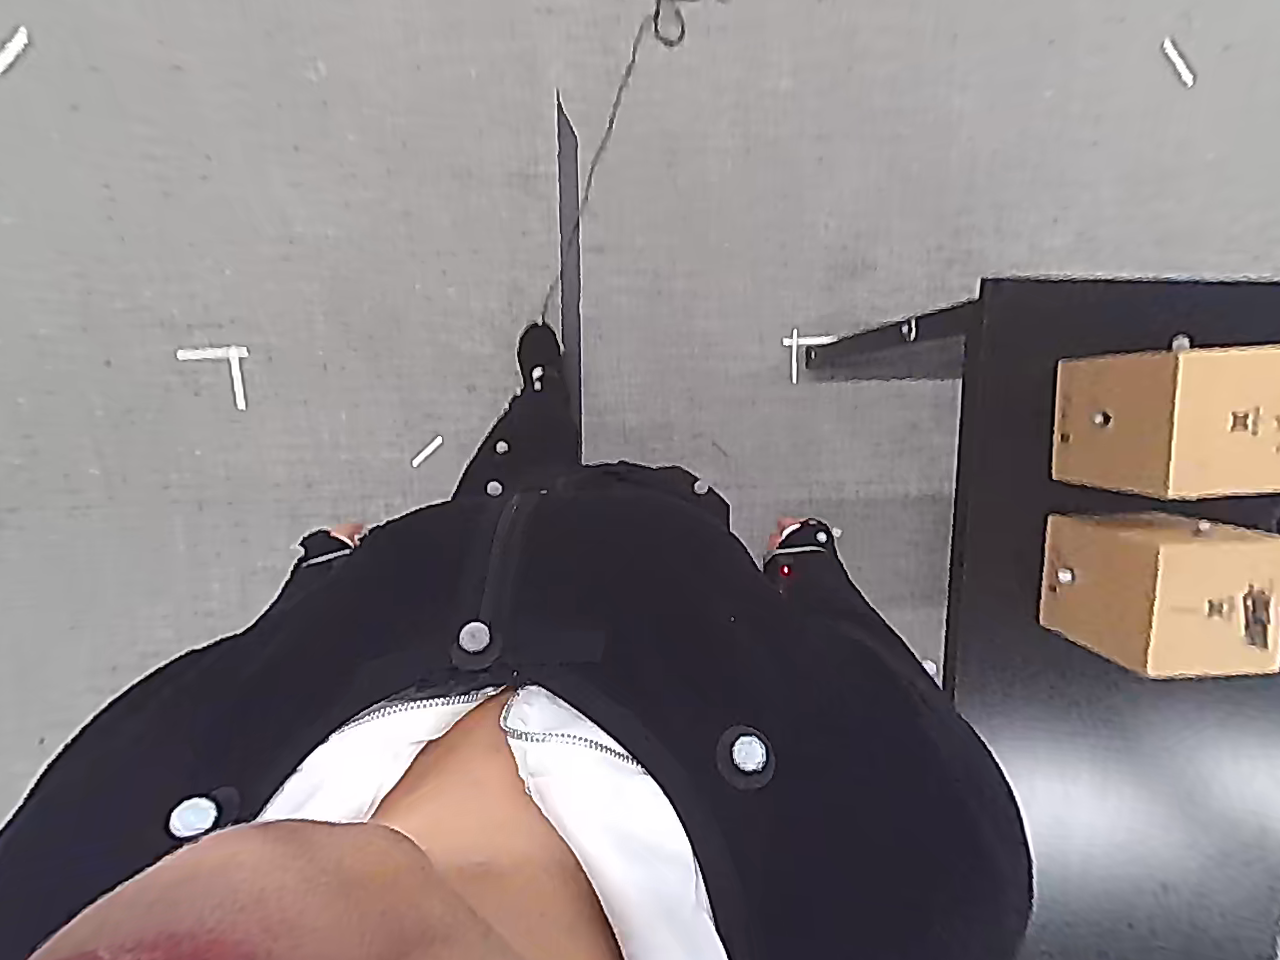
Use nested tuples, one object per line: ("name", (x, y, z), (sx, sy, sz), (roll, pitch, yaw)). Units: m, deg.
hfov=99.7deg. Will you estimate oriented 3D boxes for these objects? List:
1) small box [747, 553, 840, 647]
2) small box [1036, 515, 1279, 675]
("small box", (0.407, 0.319, 1.470), (0.168, 0.176, 0.179), (20, 95, -6))
("small box", (0.685, 0.142, 0.726), (0.179, 0.176, 0.168), (-1, 97, -3))
